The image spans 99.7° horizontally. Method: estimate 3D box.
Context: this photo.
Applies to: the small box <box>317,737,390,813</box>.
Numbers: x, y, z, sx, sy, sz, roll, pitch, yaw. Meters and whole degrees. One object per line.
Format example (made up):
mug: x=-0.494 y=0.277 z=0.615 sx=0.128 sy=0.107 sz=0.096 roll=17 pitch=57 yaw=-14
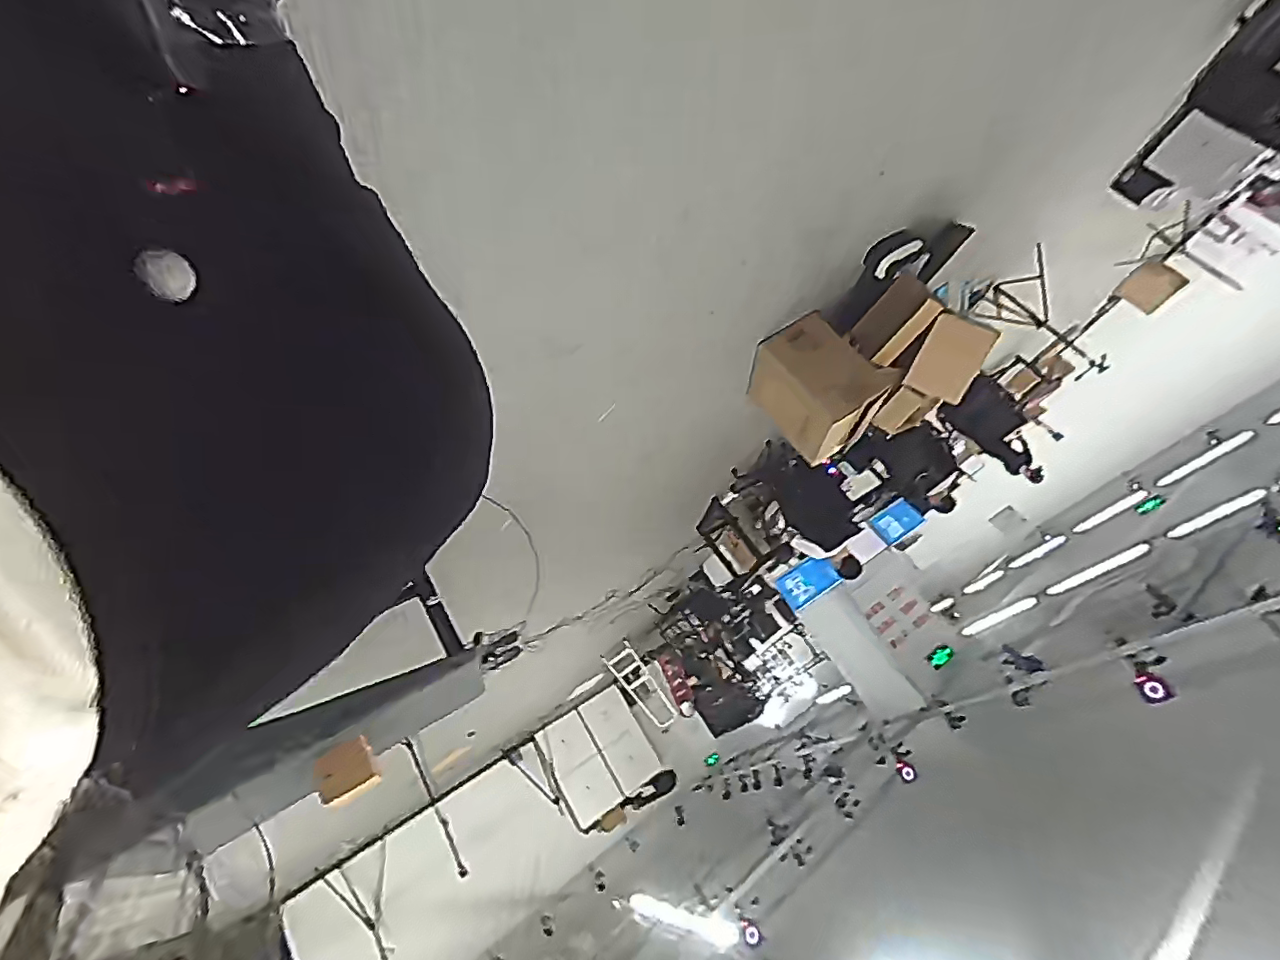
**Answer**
small box: x=-1.028 y=1.055 z=1.936 sx=0.179 sy=0.176 sz=0.168 roll=-27 pitch=158 yaw=-26
